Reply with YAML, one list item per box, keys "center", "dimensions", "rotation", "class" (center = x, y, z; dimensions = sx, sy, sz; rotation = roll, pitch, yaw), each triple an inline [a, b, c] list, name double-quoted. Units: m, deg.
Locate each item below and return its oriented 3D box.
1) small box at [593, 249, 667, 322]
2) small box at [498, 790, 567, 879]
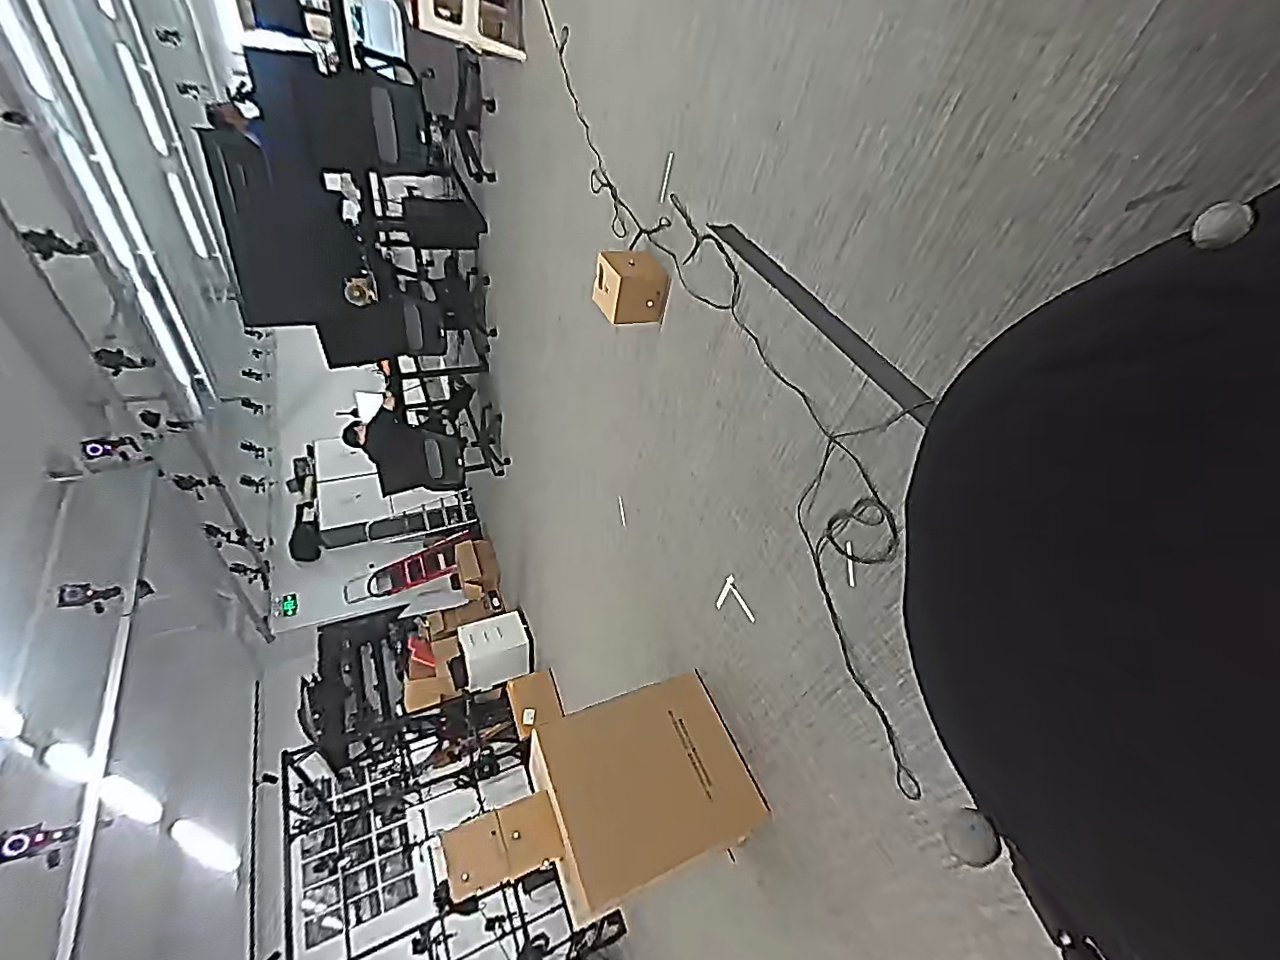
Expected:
- center: [-0.036, -0.634, 1.756]
  dimensions: [0.179, 0.176, 0.168]
  rotation: [59, 149, 35]
  class: "small box"
- center: [-0.345, 1.114, 1.711]
  dimensions: [0.179, 0.176, 0.168]
  rotation: [58, 149, 36]
  class: "small box"
